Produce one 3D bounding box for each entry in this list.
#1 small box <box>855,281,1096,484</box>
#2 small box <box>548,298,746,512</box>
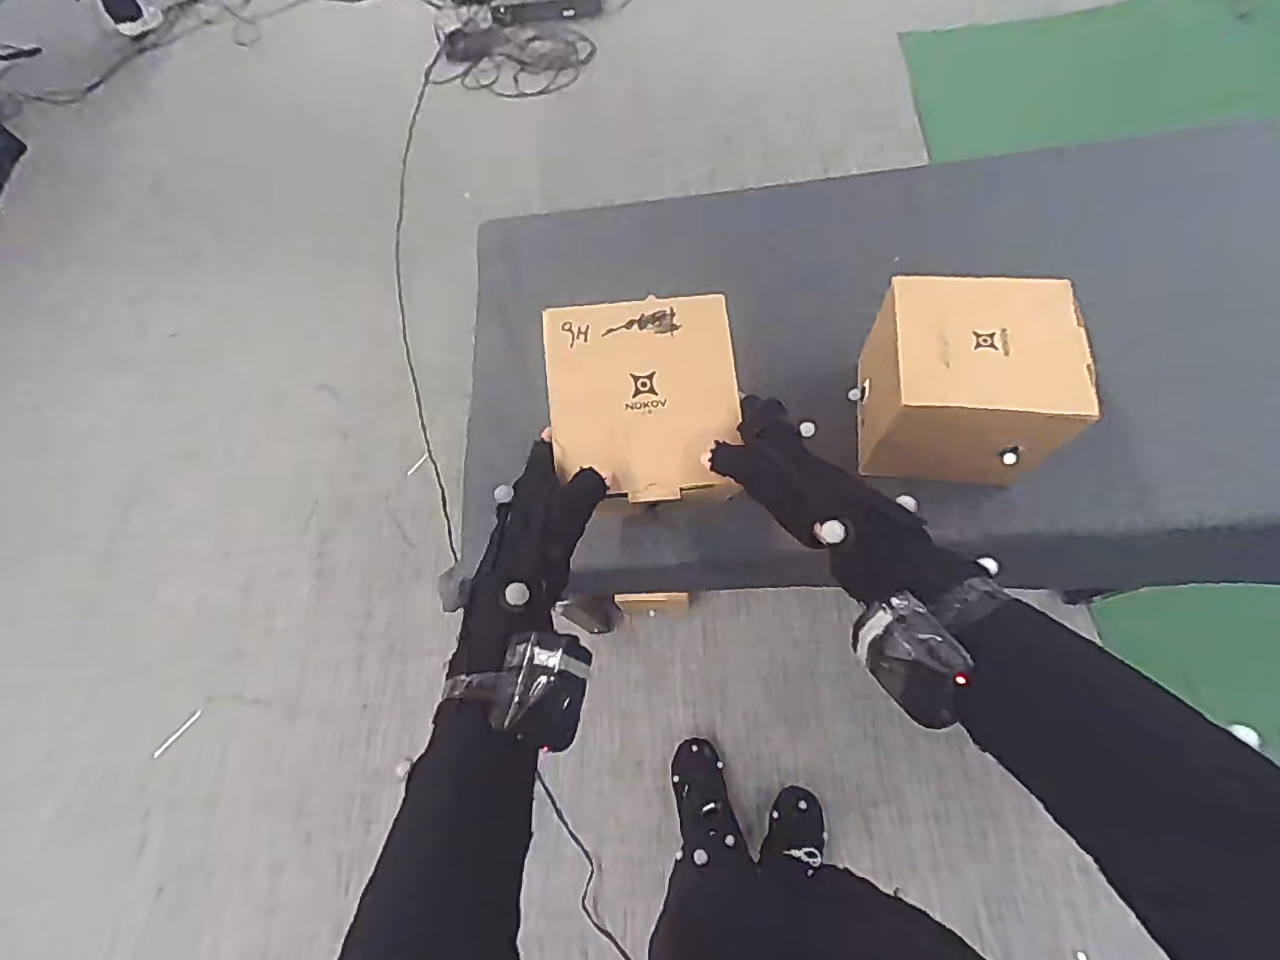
[{"bbox_3d":[0.359,-0.103,0.619,0.179,0.176,0.168,4,66,9],"label":"small box"},{"bbox_3d":[0.004,-0.062,0.556,0.168,0.176,0.179,-5,81,-3],"label":"small box"}]
